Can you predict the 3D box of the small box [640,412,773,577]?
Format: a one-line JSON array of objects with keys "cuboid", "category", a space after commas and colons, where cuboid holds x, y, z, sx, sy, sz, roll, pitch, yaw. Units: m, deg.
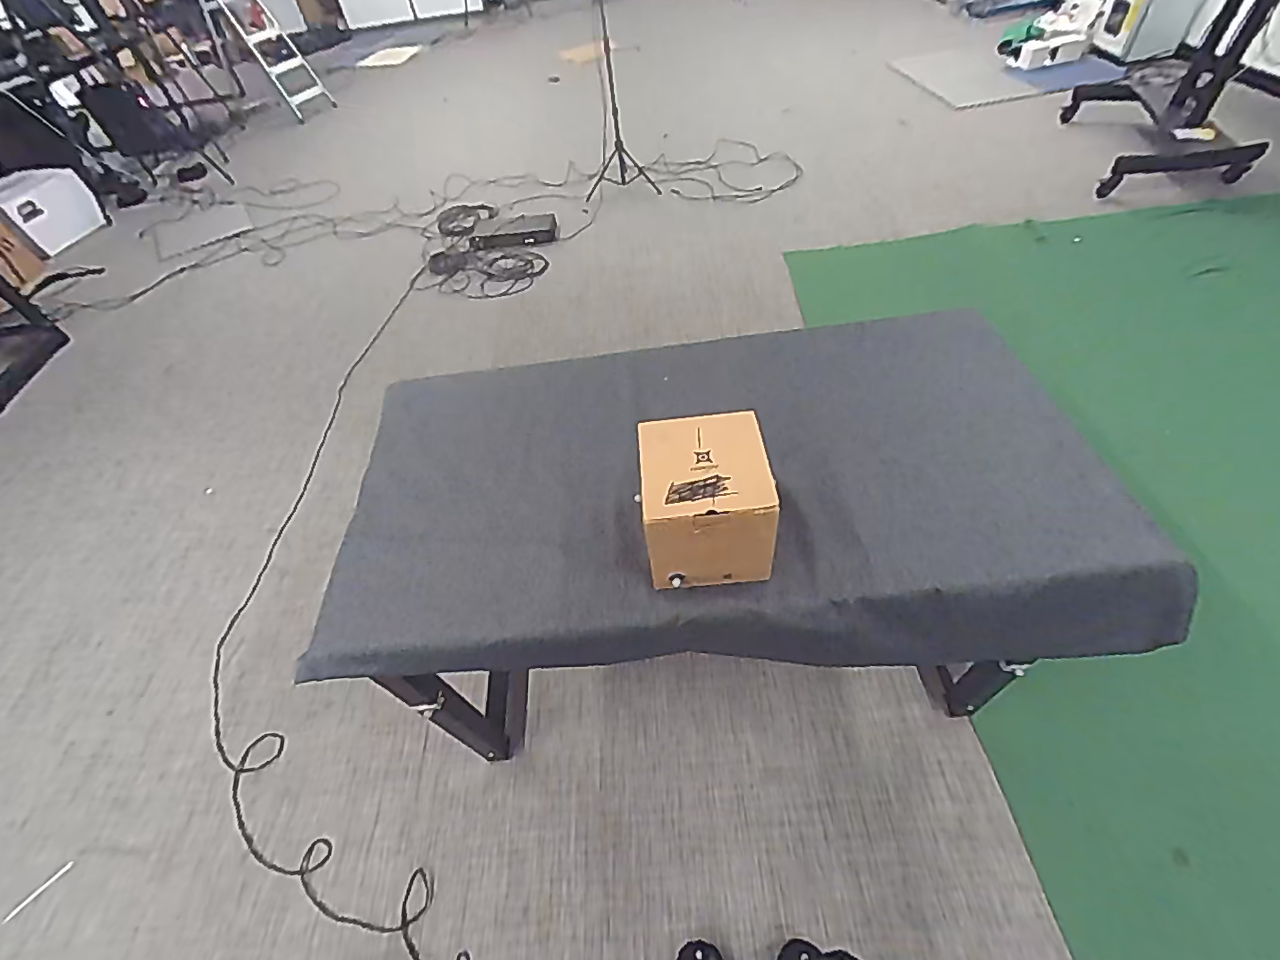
[{"cuboid": [0.092, 0.028, 0.782, 0.168, 0.176, 0.179, -5, 48, 3], "category": "small box"}]
